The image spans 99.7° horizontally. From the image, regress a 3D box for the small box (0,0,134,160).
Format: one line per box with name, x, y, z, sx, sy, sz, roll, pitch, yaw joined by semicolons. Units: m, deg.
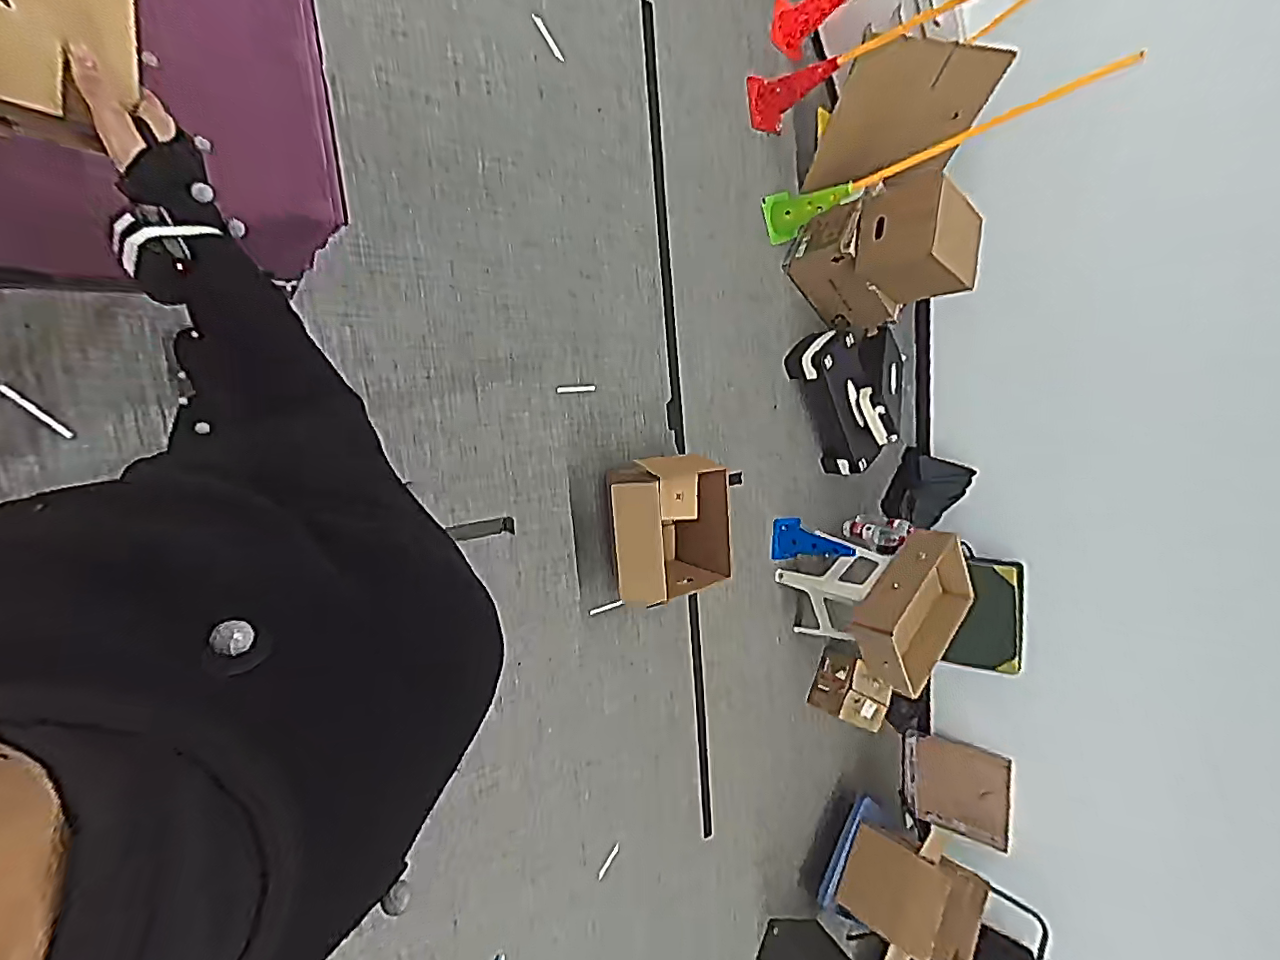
small box;-0.537;-0.391;0.448;0.168;0.176;0.179;-5;109;-45
